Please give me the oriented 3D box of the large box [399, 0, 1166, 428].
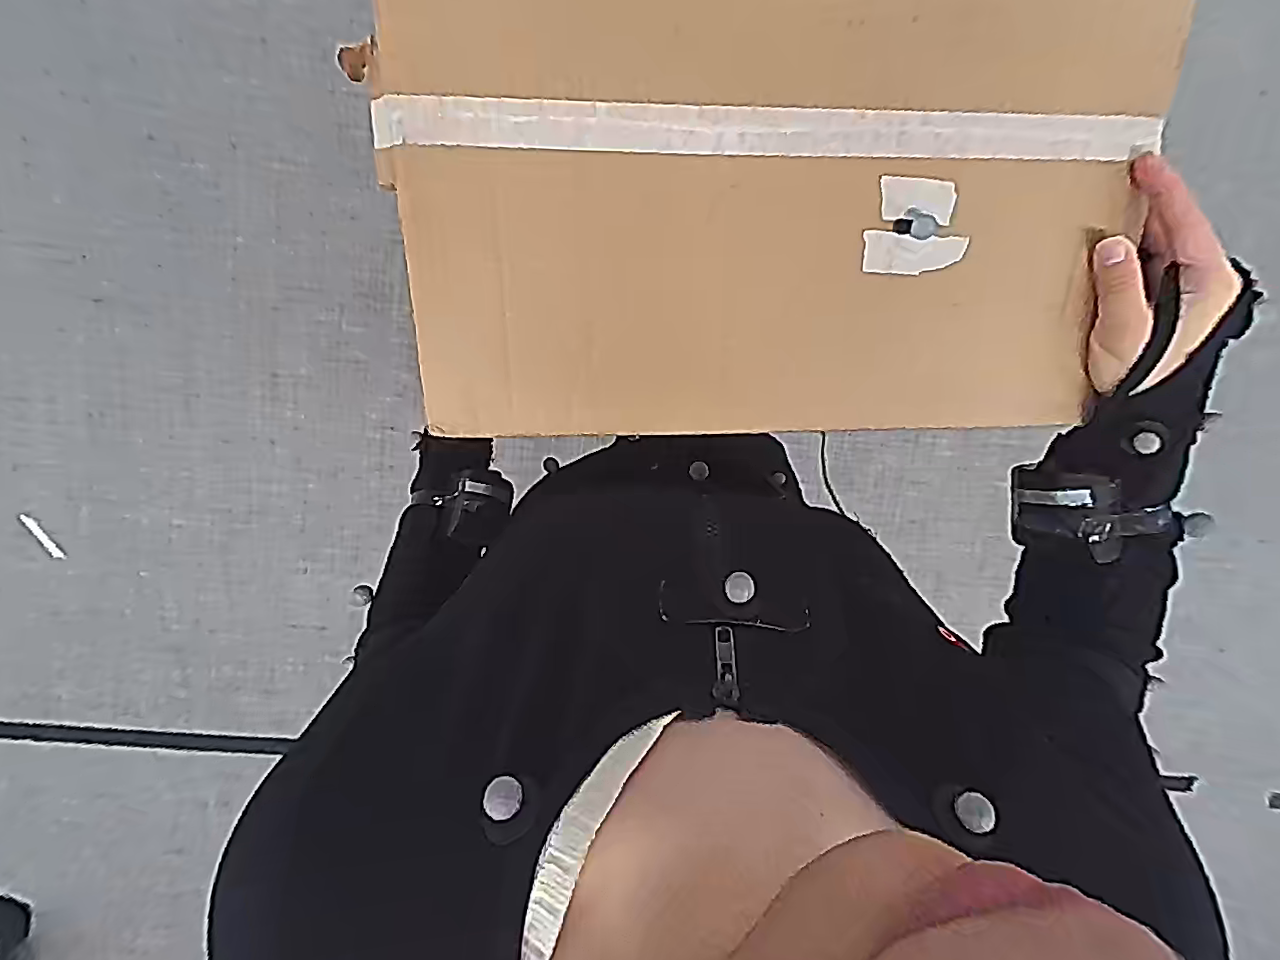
[{"bbox_3d":[0.065,-0.228,0.431,0.408,0.320,0.320,-2,108,-6],"label":"large box"}]
